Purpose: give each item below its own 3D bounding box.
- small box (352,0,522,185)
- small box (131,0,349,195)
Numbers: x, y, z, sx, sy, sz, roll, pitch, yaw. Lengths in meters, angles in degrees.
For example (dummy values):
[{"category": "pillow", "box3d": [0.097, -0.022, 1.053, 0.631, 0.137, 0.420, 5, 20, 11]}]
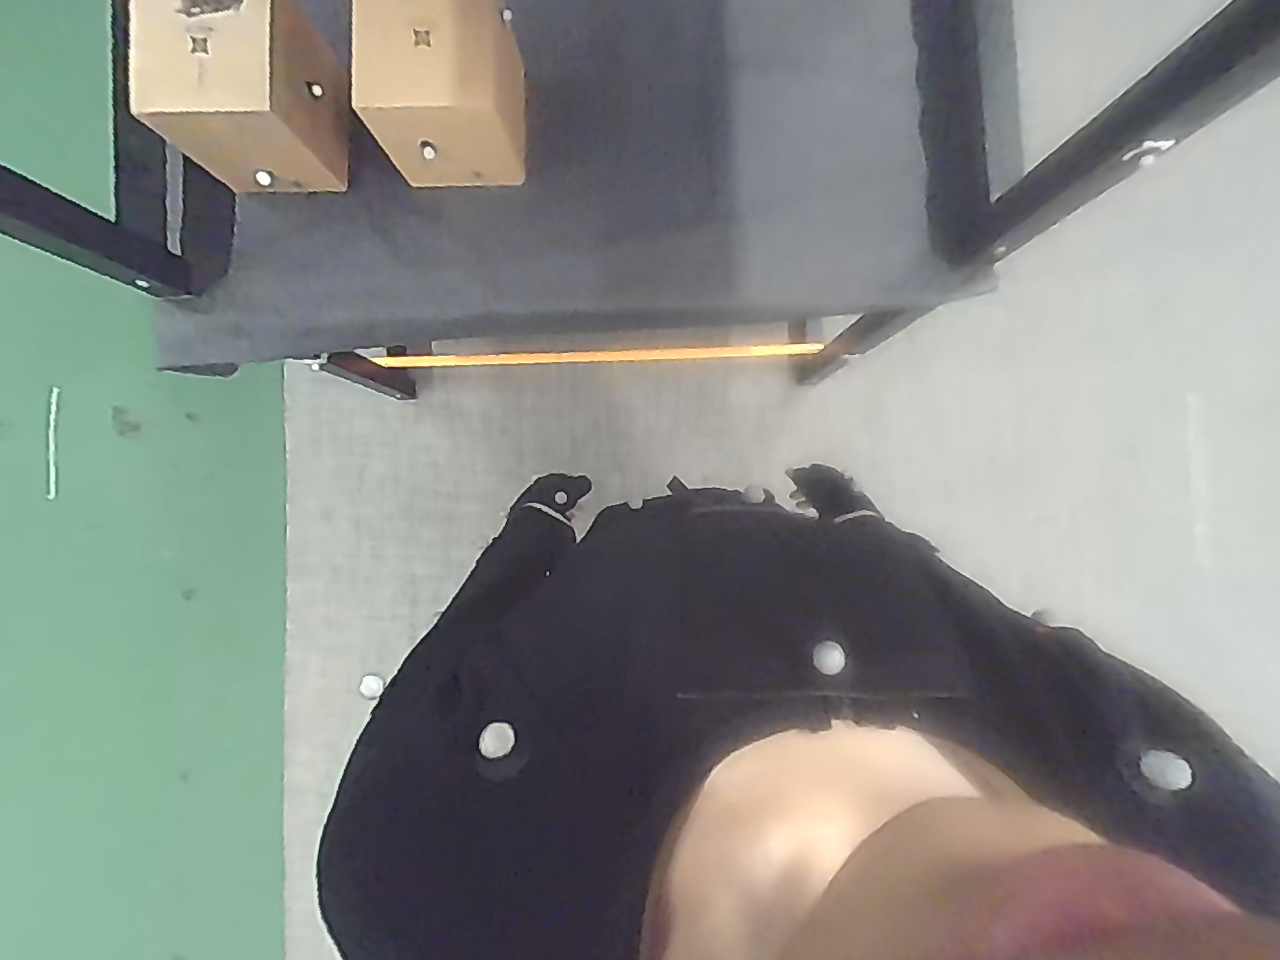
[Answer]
[{"category": "small box", "box3d": [-0.253, -0.513, 0.710, 0.168, 0.176, 0.179, -1, 88, 0]}, {"category": "small box", "box3d": [-0.506, -0.506, 0.708, 0.168, 0.176, 0.179, -1, 89, 0]}]
